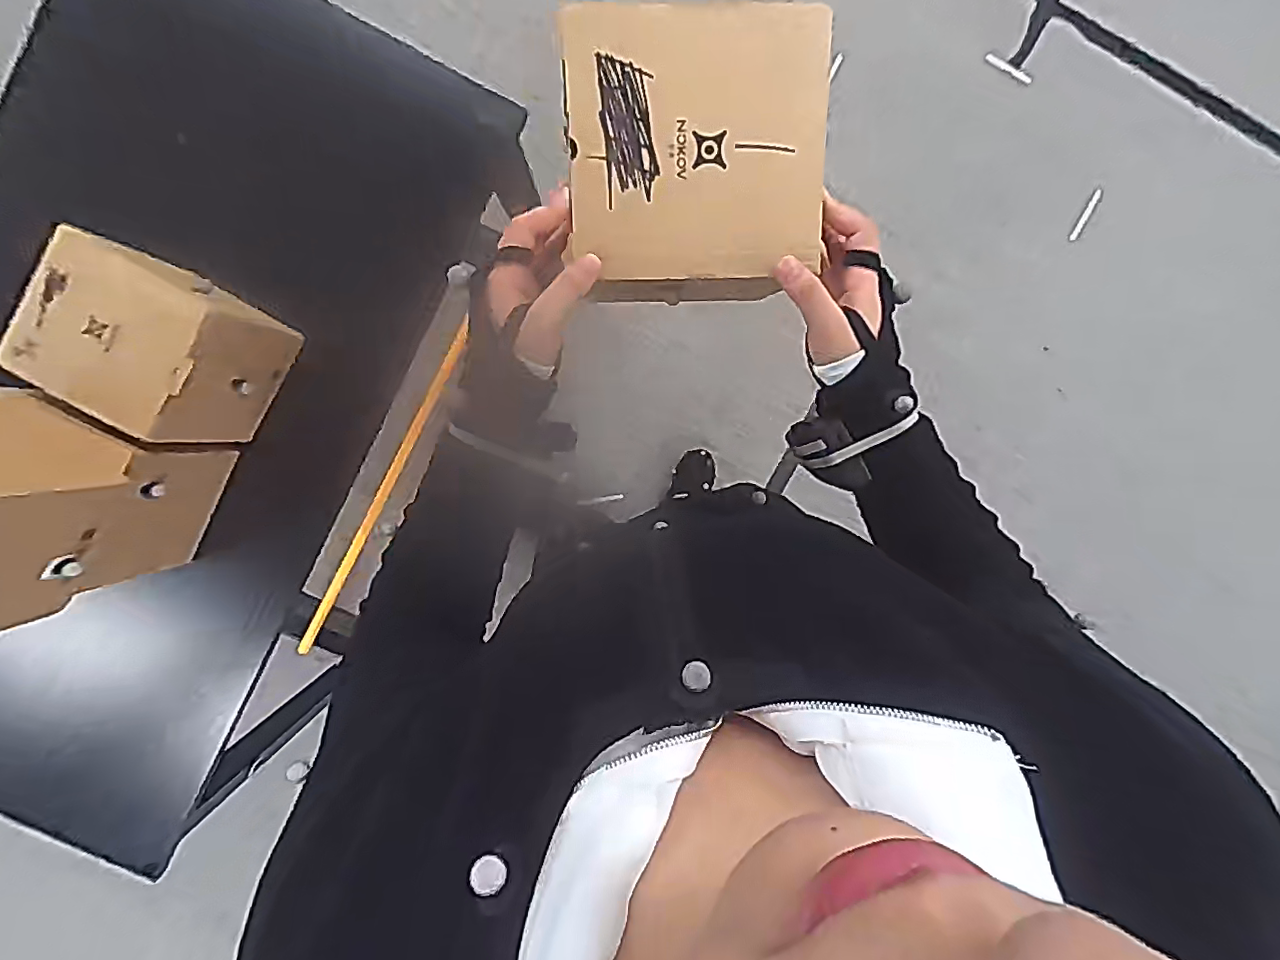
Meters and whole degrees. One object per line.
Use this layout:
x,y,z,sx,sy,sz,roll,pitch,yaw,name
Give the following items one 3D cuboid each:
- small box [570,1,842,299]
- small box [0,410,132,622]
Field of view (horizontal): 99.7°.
0.041,-0.241,0.439,0.179,0.176,0.168,-1,104,-2,small box
-0.648,0.034,0.496,0.179,0.176,0.168,30,94,-5,small box
